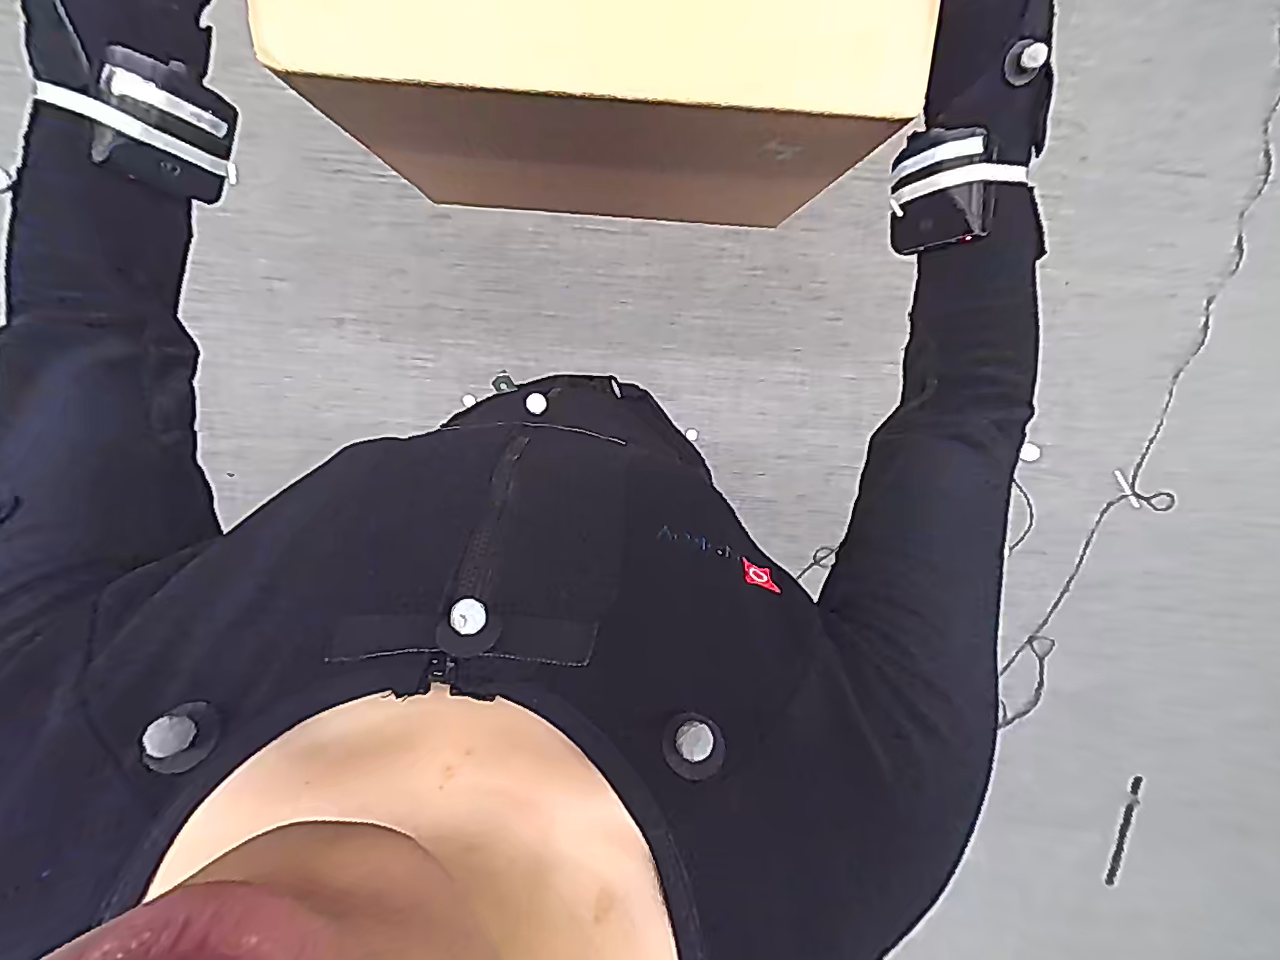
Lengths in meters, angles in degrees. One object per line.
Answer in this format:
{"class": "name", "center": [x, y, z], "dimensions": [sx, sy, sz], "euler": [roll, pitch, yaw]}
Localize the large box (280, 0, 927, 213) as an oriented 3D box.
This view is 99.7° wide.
{"class": "large box", "center": [-0.023, -0.431, 0.450], "dimensions": [0.408, 0.320, 0.320], "euler": [2, 104, -4]}
